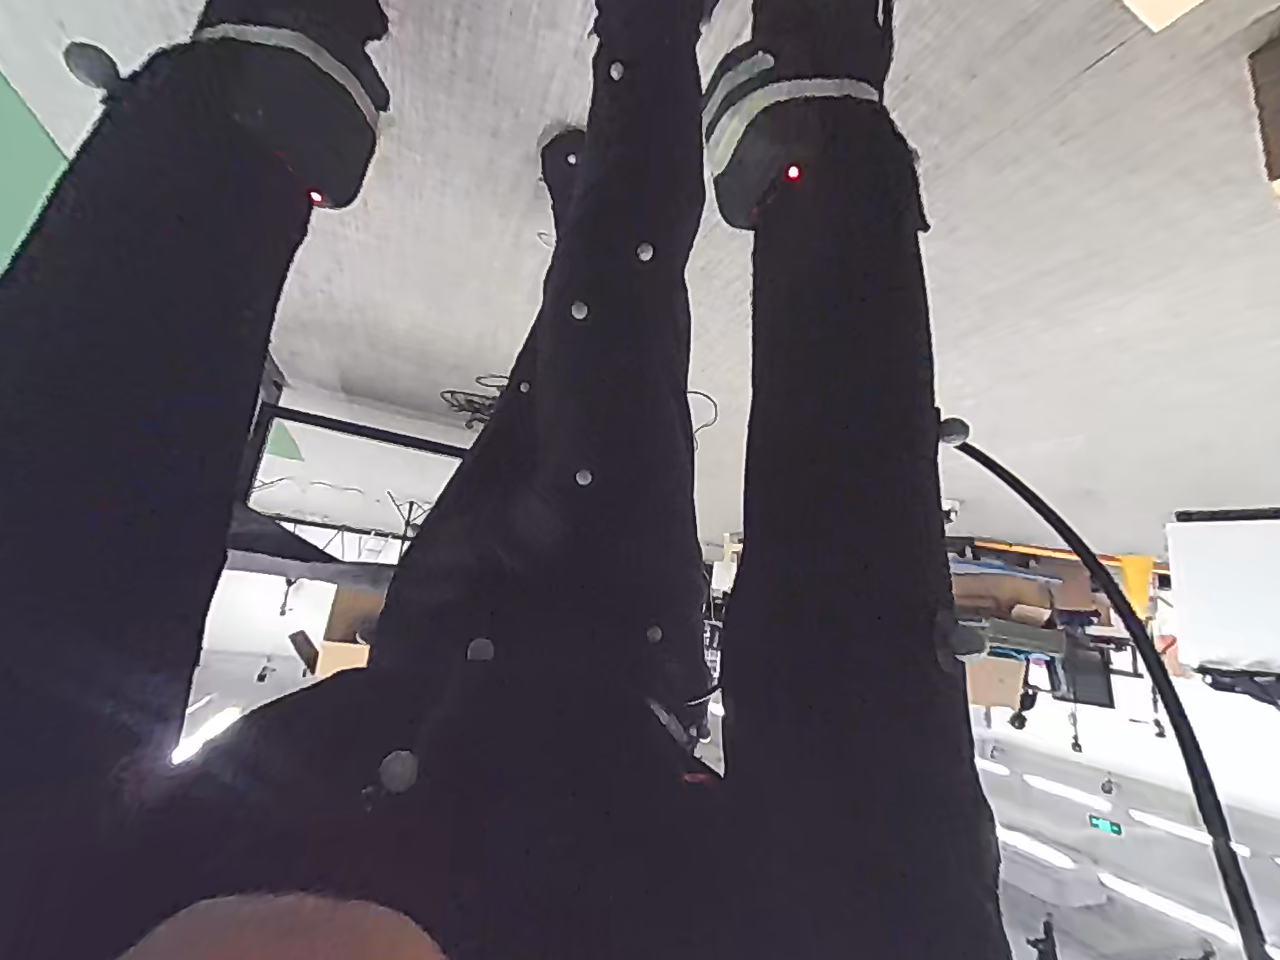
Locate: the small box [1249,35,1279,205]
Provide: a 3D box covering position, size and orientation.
[{"bbox_3d":[0.763,-0.387,0.541,0.168,0.176,0.179,12,165,-27],"label":"small box"}]
